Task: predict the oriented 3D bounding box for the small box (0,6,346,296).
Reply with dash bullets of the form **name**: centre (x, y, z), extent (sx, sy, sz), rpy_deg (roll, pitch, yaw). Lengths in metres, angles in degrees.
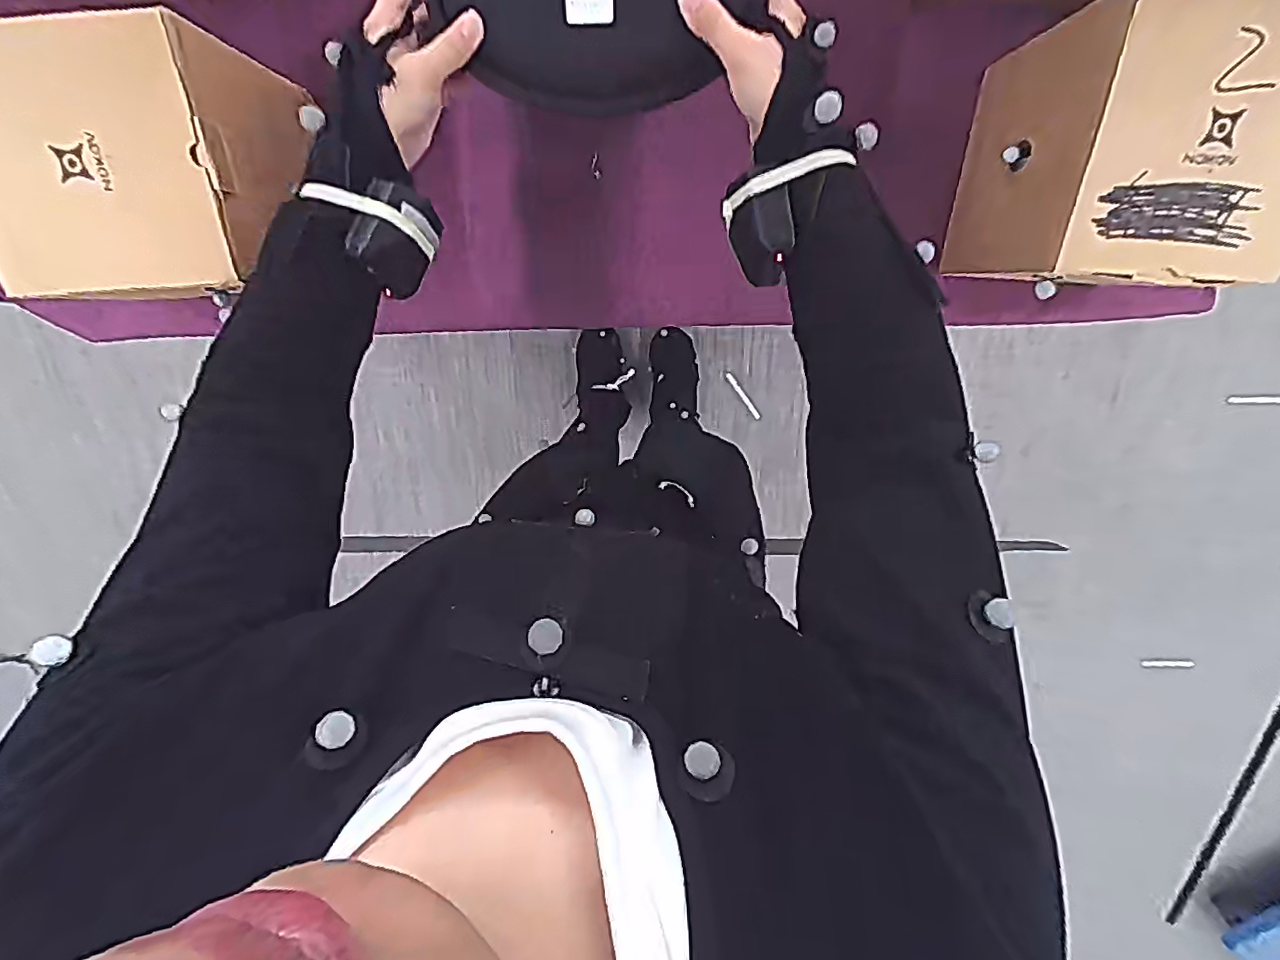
- **small box**: centre (-0.383, -0.243, 0.444), extent (0.179, 0.176, 0.168), rpy_deg (-4, 109, 0)
